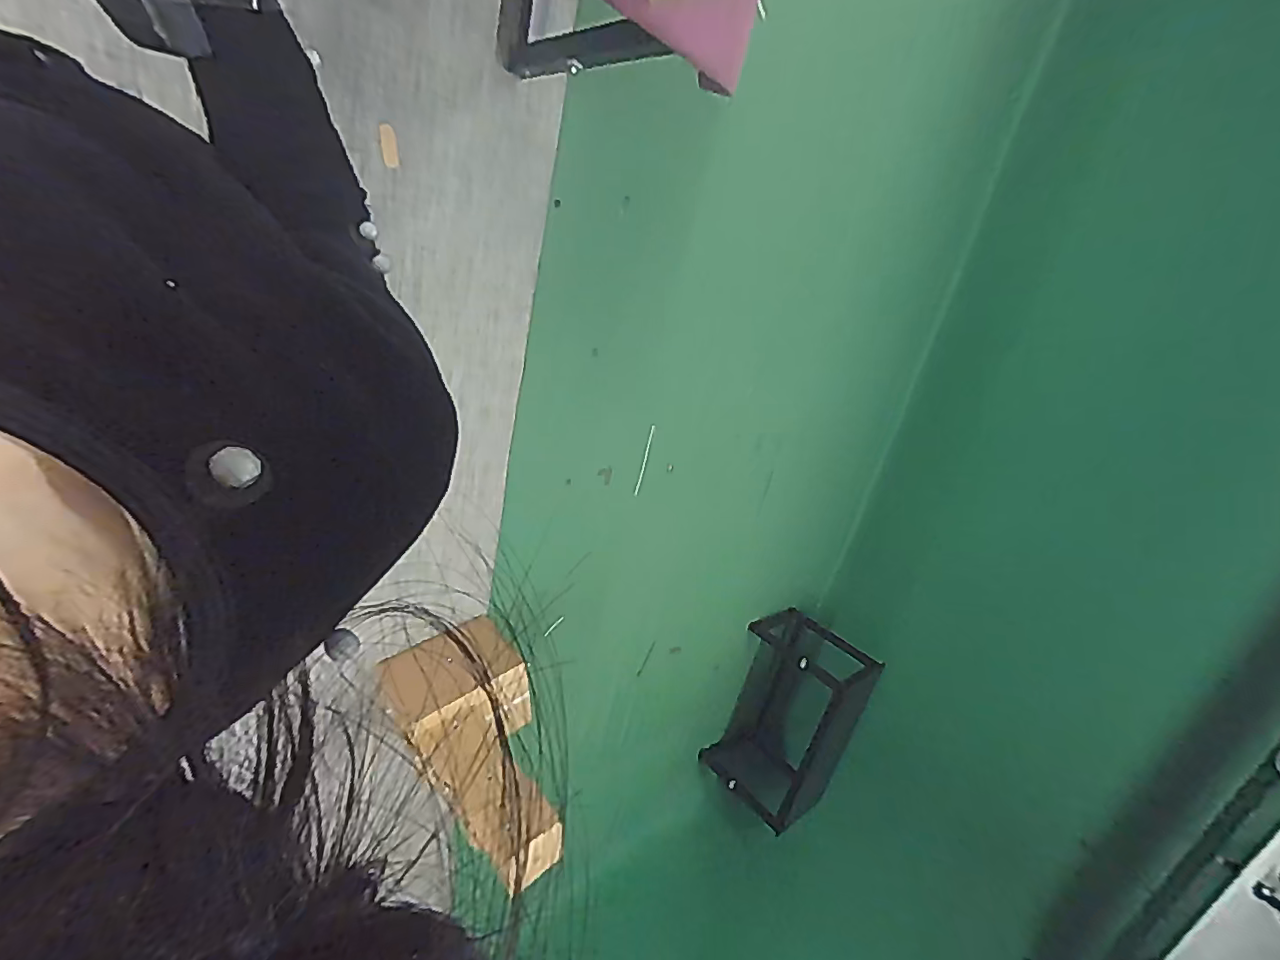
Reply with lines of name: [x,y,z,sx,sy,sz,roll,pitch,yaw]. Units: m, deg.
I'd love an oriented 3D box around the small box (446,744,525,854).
small box: [-0.450,0.924,1.580,0.179,0.176,0.168,-22,127,-37]

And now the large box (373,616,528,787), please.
large box: [-0.657,0.758,1.904,0.408,0.320,0.320,-22,128,-37]

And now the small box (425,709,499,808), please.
small box: [-0.559,0.862,1.687,0.179,0.176,0.168,-17,124,-39]

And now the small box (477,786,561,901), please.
small box: [-0.333,0.983,1.483,0.168,0.176,0.179,-20,126,-37]
